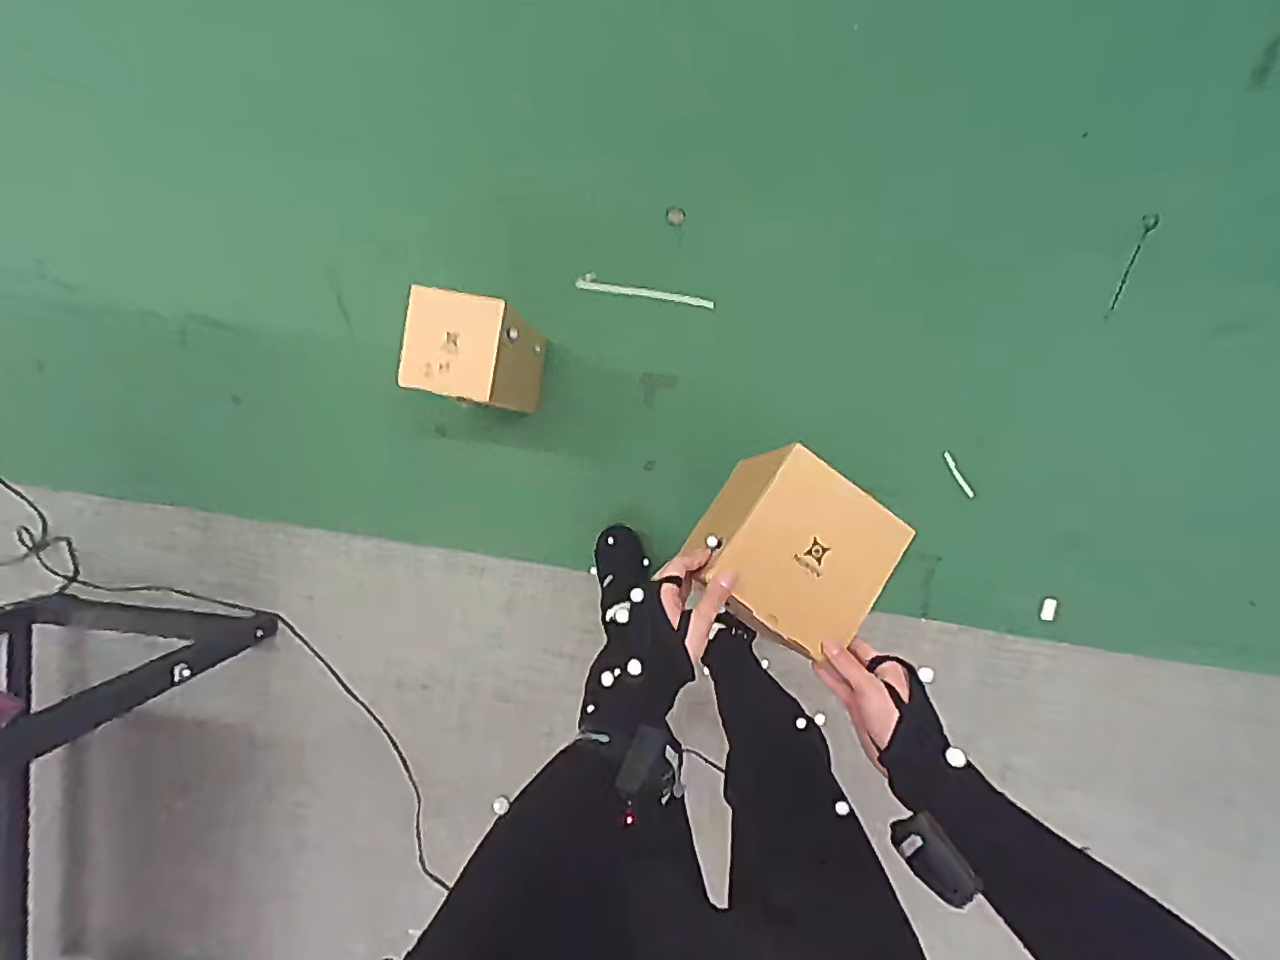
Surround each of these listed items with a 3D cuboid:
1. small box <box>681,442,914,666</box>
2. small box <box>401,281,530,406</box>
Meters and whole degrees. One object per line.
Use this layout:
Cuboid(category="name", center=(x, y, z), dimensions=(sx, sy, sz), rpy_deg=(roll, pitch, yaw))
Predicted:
Cuboid(category="small box", center=(0.168, 0.079, 0.636), dimensions=(0.168, 0.176, 0.179), rpy_deg=(36, 82, -5))
Cuboid(category="small box", center=(-0.313, -0.243, 1.001), dimensions=(0.168, 0.176, 0.179), rpy_deg=(11, 94, 3))
